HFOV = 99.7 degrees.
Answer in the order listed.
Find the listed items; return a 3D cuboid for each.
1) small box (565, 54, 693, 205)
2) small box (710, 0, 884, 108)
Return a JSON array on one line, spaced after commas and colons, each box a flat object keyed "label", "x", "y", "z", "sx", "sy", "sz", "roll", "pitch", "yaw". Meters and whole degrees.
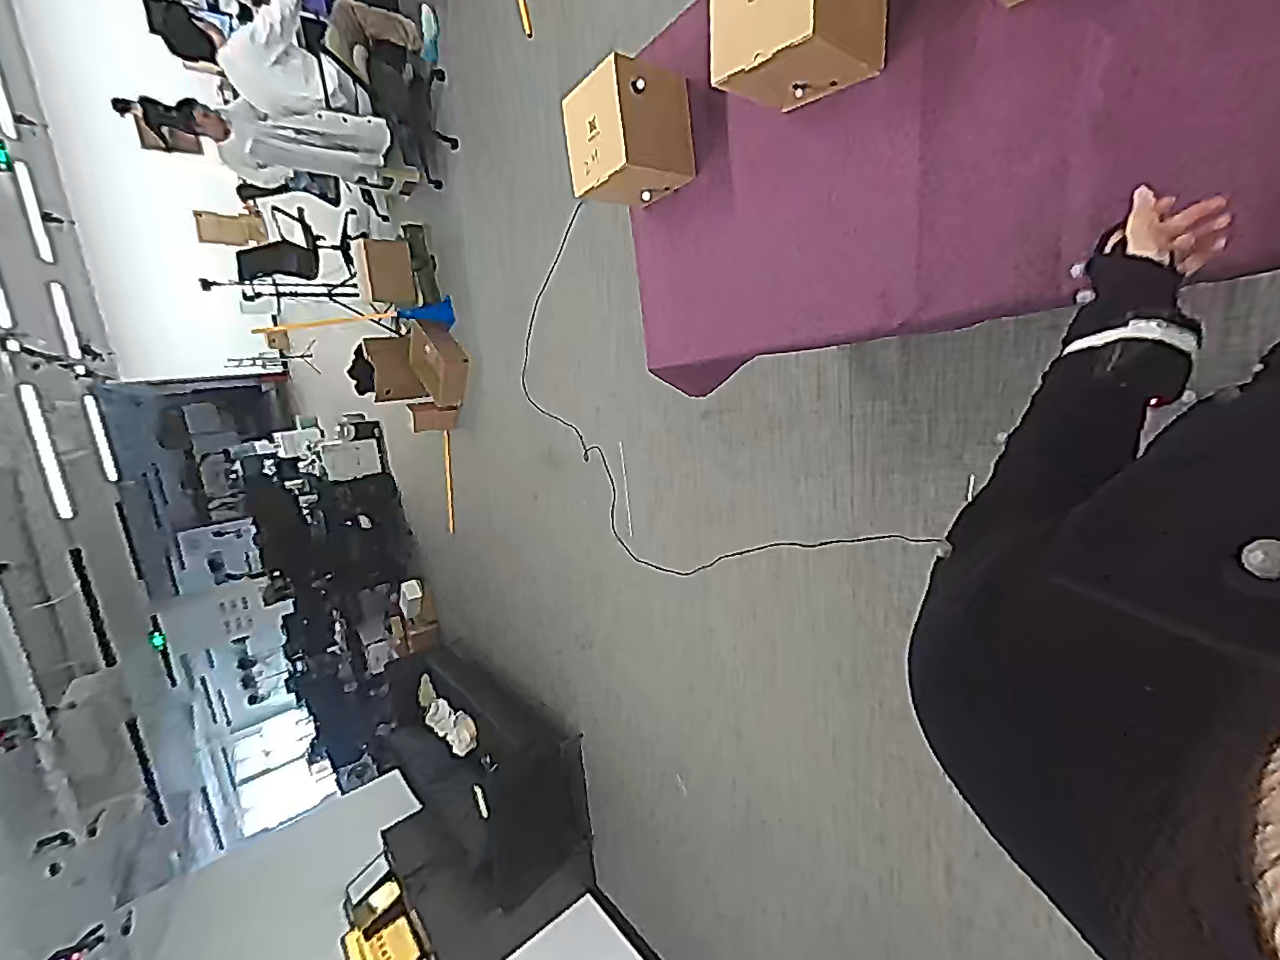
[{"label": "small box", "x": -0.018, "y": -0.640, "z": 1.014, "sx": 0.168, "sy": 0.176, "sz": 0.179, "roll": 5, "pitch": 106, "yaw": 51}, {"label": "small box", "x": 0.212, "y": -0.638, "z": 0.727, "sx": 0.168, "sy": 0.176, "sz": 0.179, "roll": 16, "pitch": 115, "yaw": 49}]
